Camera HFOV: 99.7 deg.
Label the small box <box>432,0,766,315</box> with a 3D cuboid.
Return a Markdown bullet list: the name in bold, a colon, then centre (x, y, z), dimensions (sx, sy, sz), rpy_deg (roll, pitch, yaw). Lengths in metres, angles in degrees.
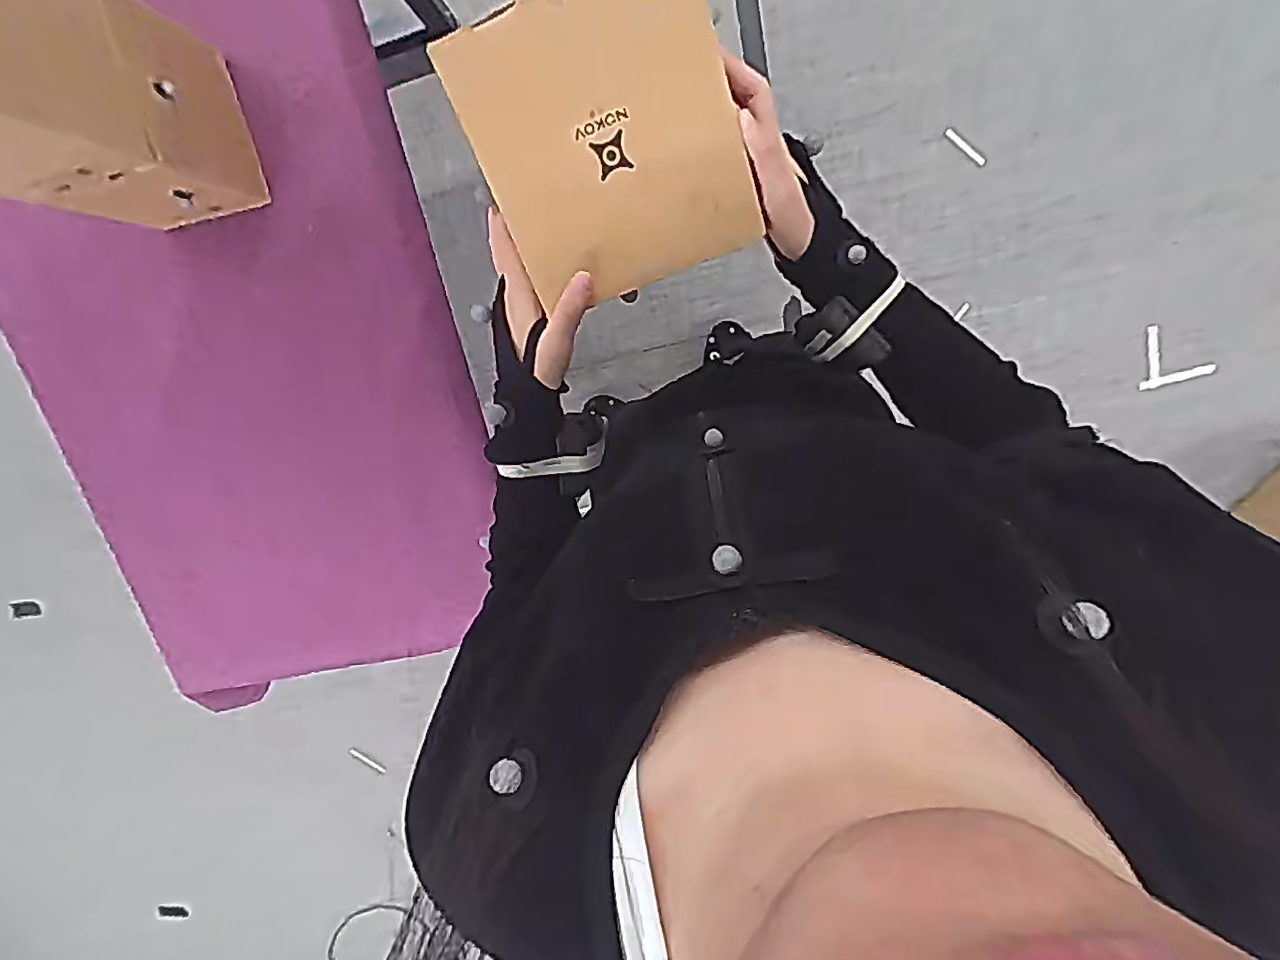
- **small box**: centre (-0.020, -0.250, 0.416), dimensions (0.168, 0.176, 0.179), rpy_deg (-21, 112, 7)

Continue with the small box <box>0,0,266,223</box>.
- **small box**: centre (-0.577, -0.408, 0.615), dimensions (0.168, 0.176, 0.179), rpy_deg (-11, 103, 6)
